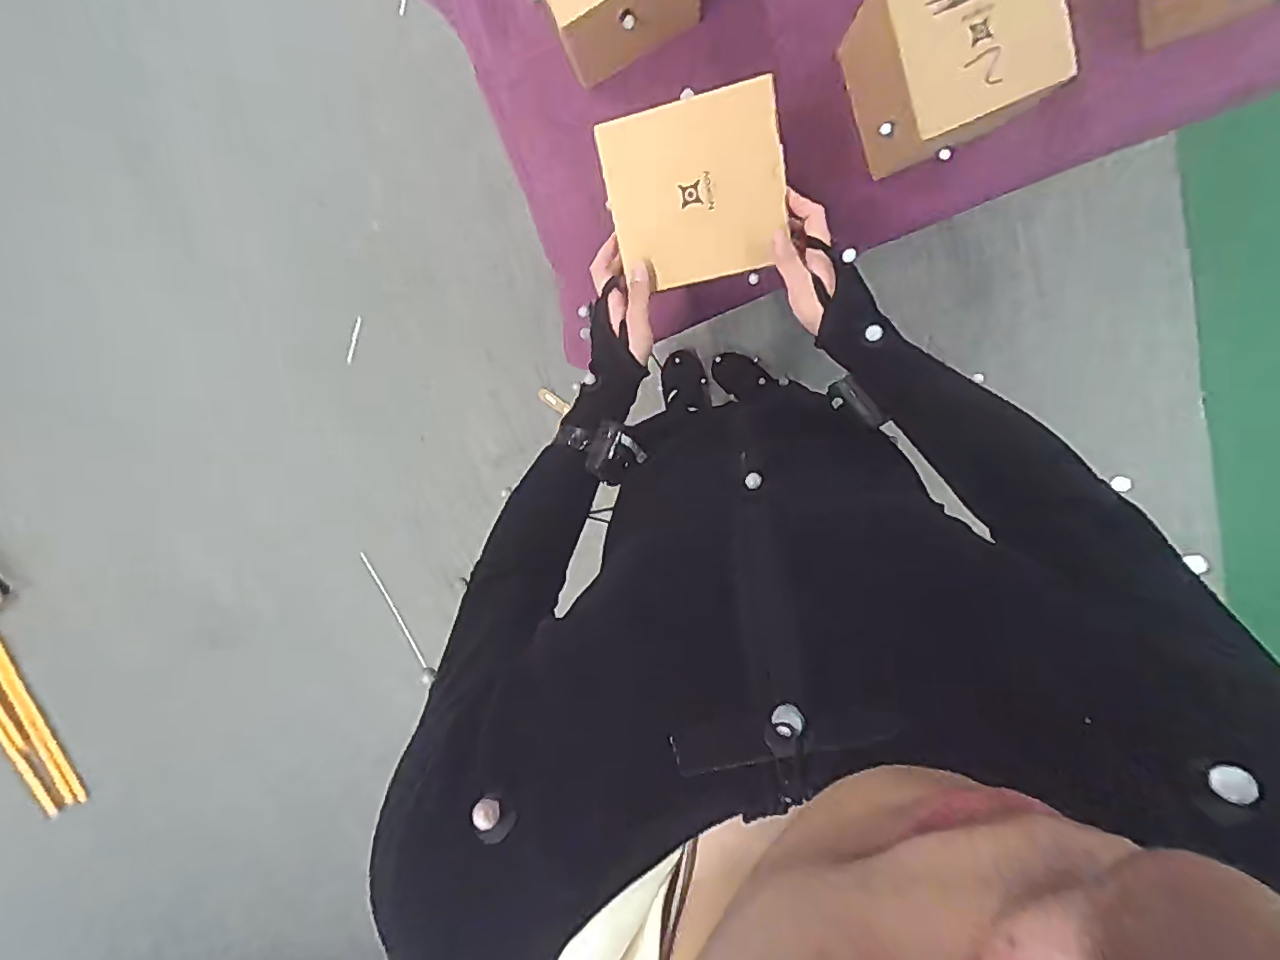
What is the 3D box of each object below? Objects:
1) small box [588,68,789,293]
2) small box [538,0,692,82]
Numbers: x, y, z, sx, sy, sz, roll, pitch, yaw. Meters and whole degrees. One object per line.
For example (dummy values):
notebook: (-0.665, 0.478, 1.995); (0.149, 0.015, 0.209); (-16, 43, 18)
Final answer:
small box: (0.060, -0.308, 0.600); (0.179, 0.176, 0.168); (-9, 108, 11)
small box: (-0.045, -0.620, 0.635); (0.179, 0.176, 0.168); (-23, 103, 10)
